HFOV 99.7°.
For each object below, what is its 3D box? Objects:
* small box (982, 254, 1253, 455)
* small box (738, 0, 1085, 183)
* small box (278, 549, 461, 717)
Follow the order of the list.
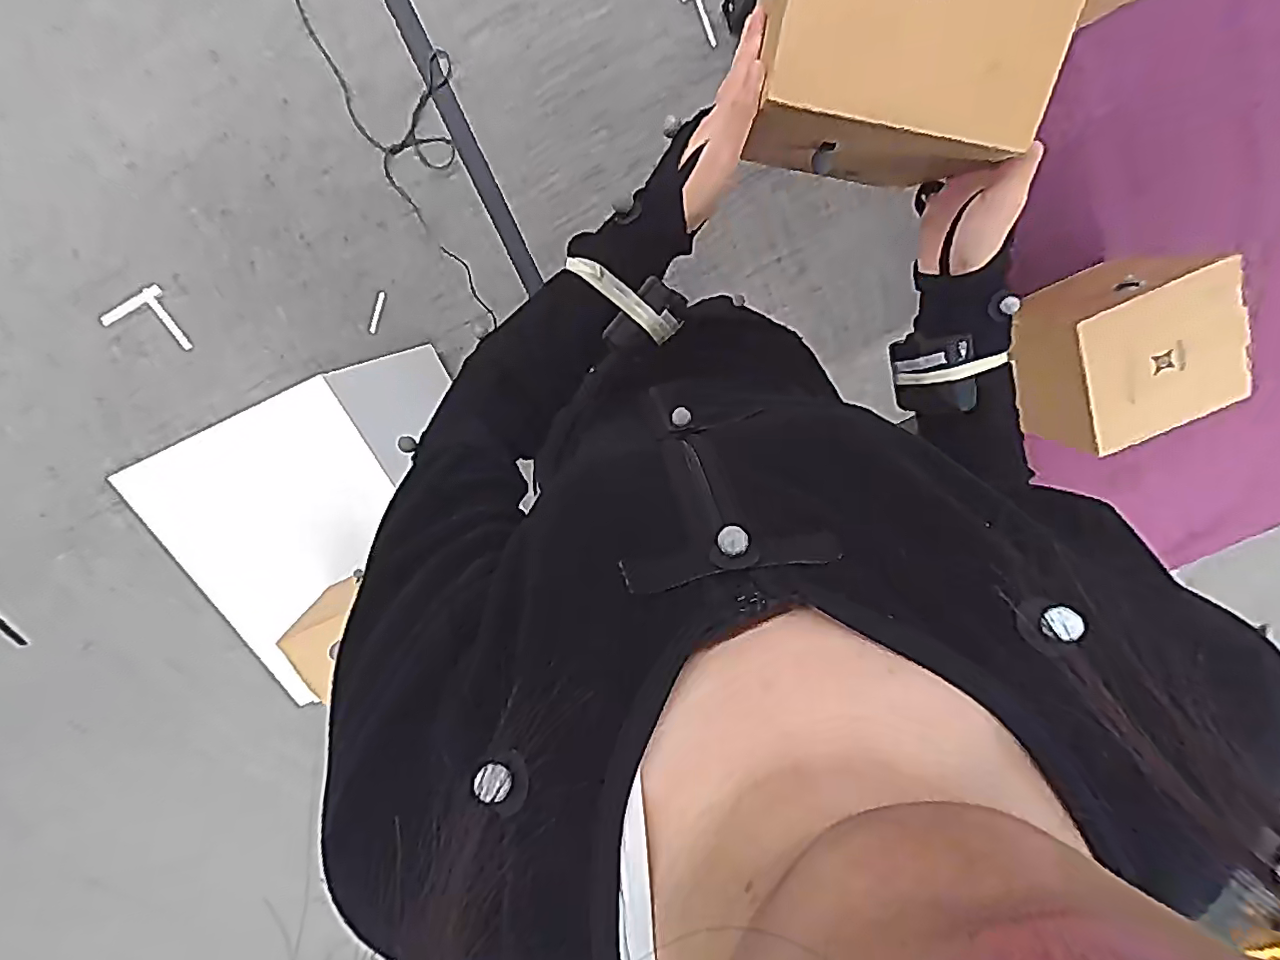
[{"bbox_3d":[0.568,-0.157,0.661,0.179,0.176,0.168,-24,107,6],"label":"small box"},{"bbox_3d":[0.170,-0.319,0.366,0.168,0.176,0.179,9,110,-2],"label":"small box"},{"bbox_3d":[-0.425,0.241,0.883,0.179,0.176,0.168,-24,109,6],"label":"small box"}]
